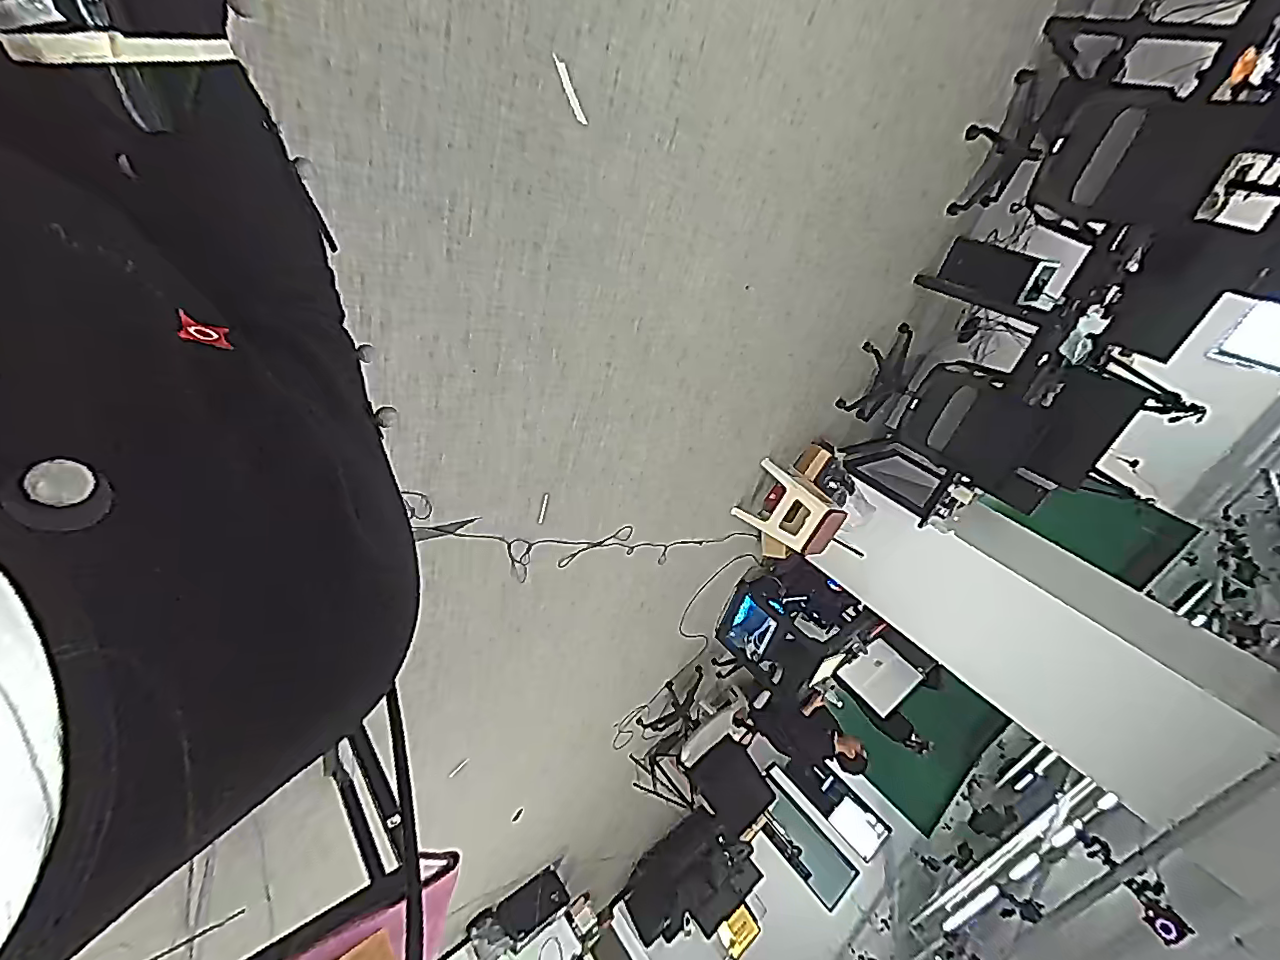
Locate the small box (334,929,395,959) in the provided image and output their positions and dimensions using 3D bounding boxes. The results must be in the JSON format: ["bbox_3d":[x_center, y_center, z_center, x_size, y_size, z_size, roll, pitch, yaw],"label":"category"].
[{"bbox_3d":[-0.733,1.351,1.434,0.168,0.176,0.179,-19,134,-37],"label":"small box"}]
